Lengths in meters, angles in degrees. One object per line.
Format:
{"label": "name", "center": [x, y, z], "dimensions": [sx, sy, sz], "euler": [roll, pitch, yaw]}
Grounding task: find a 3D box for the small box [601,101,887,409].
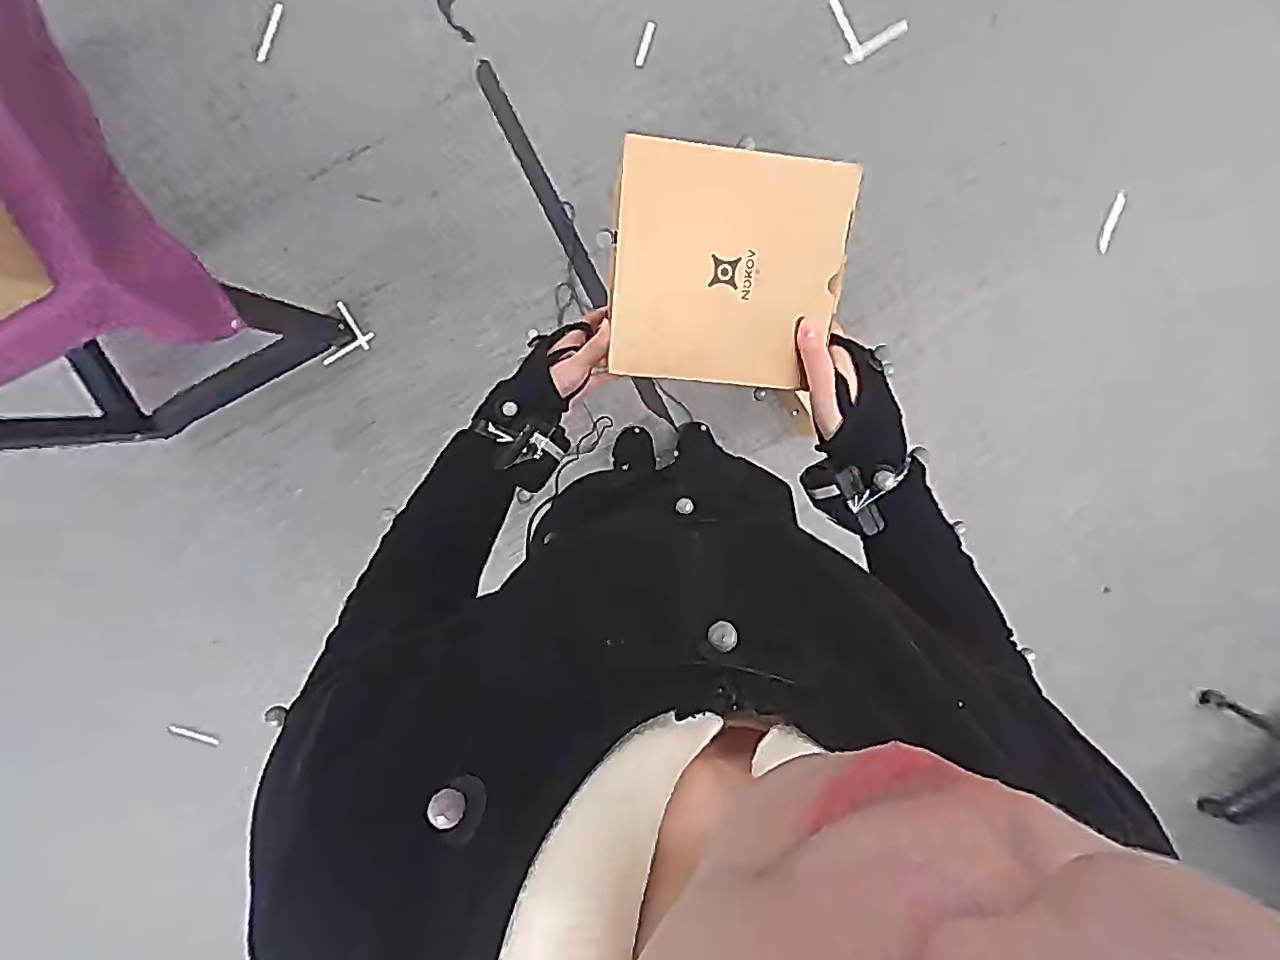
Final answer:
{"label": "small box", "center": [0.077, -0.158, 0.444], "dimensions": [0.168, 0.176, 0.179], "euler": [-3, 90, -24]}
